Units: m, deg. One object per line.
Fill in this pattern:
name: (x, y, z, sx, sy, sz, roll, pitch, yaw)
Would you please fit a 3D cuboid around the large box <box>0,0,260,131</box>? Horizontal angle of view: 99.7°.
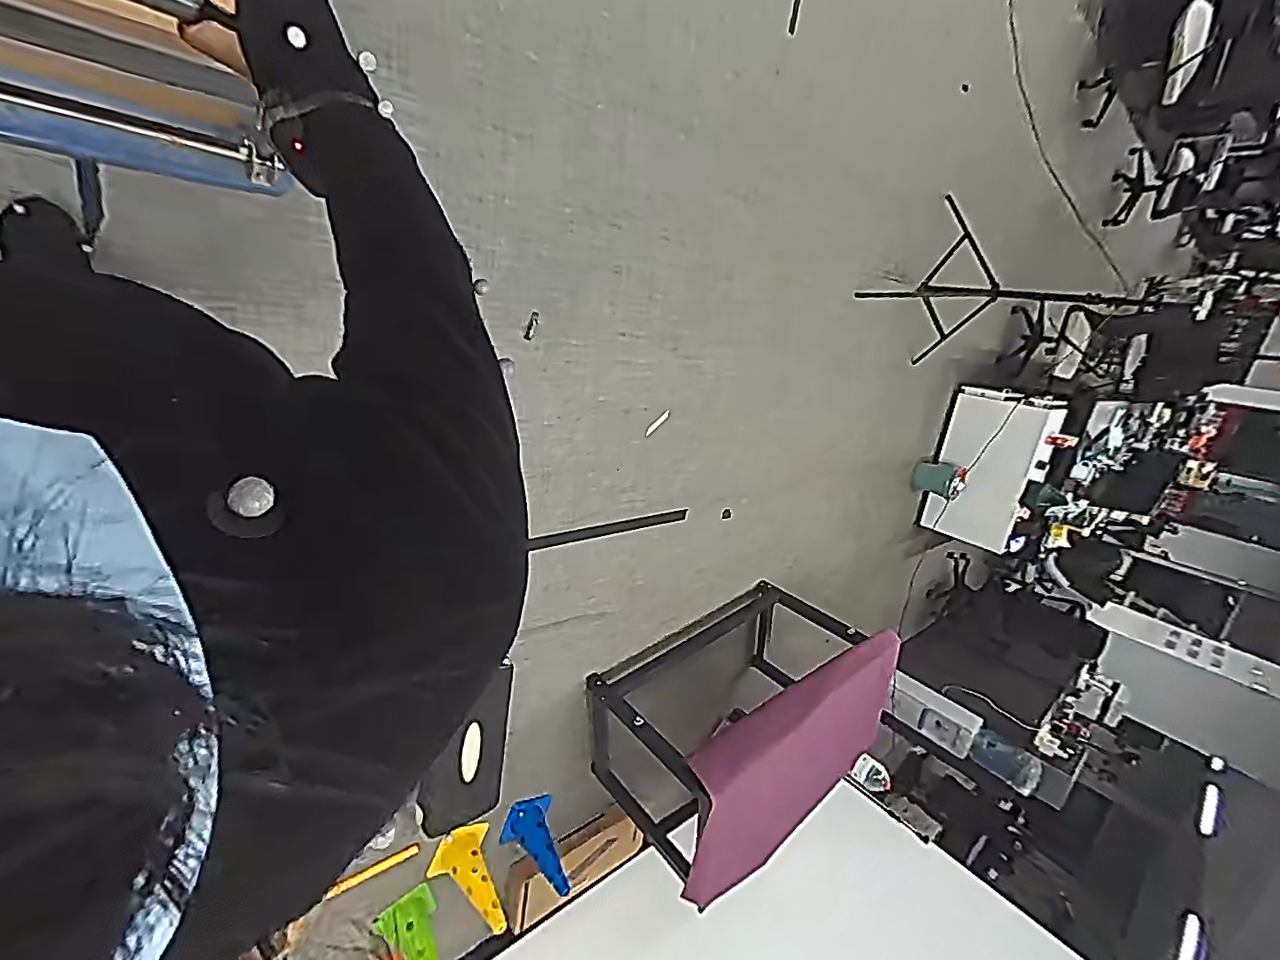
large box: (-0.738, -0.685, 0.659, 0.408, 0.320, 0.320, -6, 111, -41)
